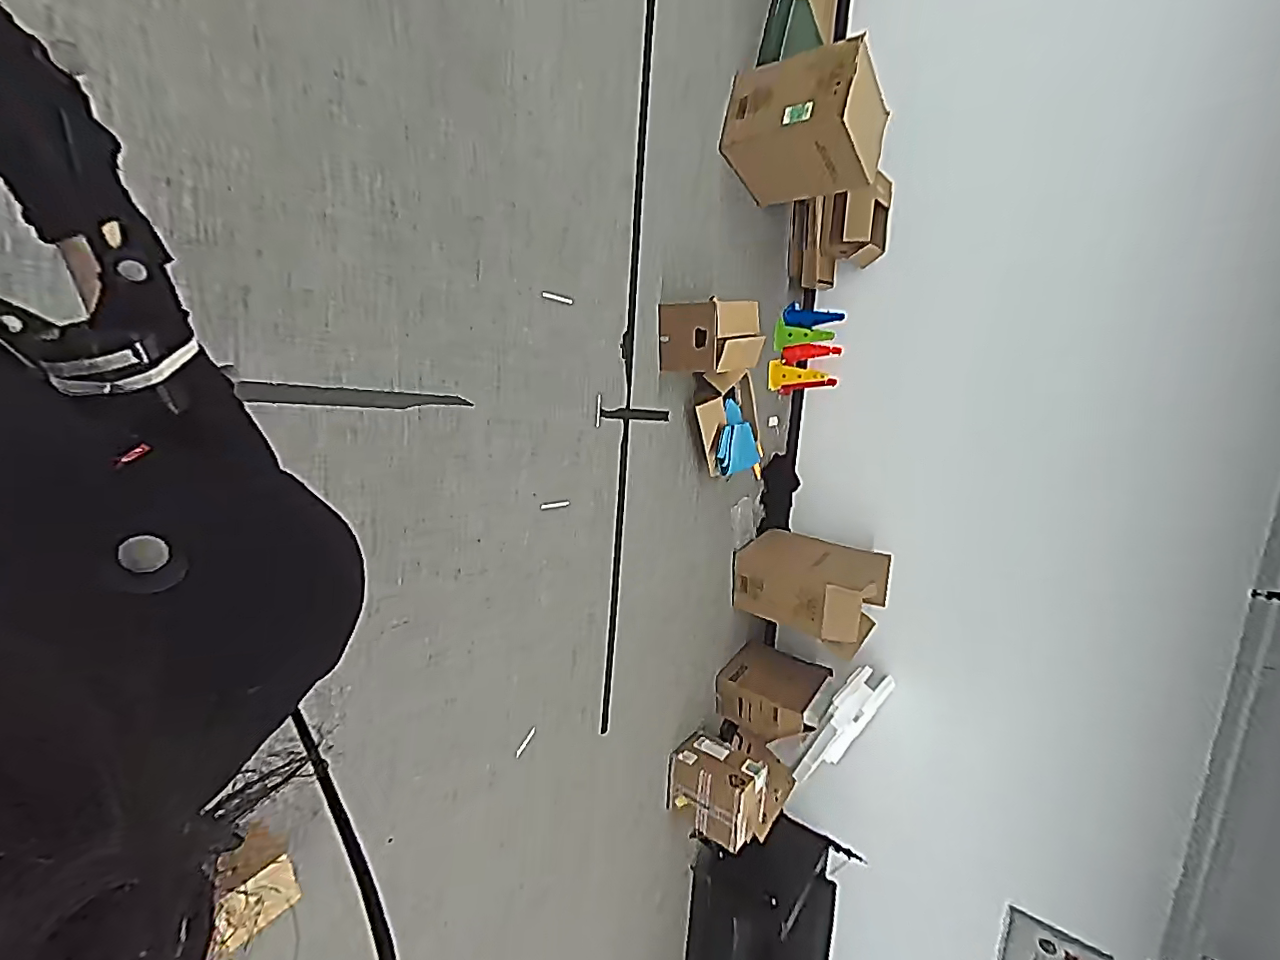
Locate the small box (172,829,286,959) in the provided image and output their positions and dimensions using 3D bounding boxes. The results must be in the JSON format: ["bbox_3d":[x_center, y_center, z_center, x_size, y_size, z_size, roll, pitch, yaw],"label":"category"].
[{"bbox_3d":[-1.040,1.043,1.365,0.179,0.176,0.168,-25,120,-50],"label":"small box"}]
